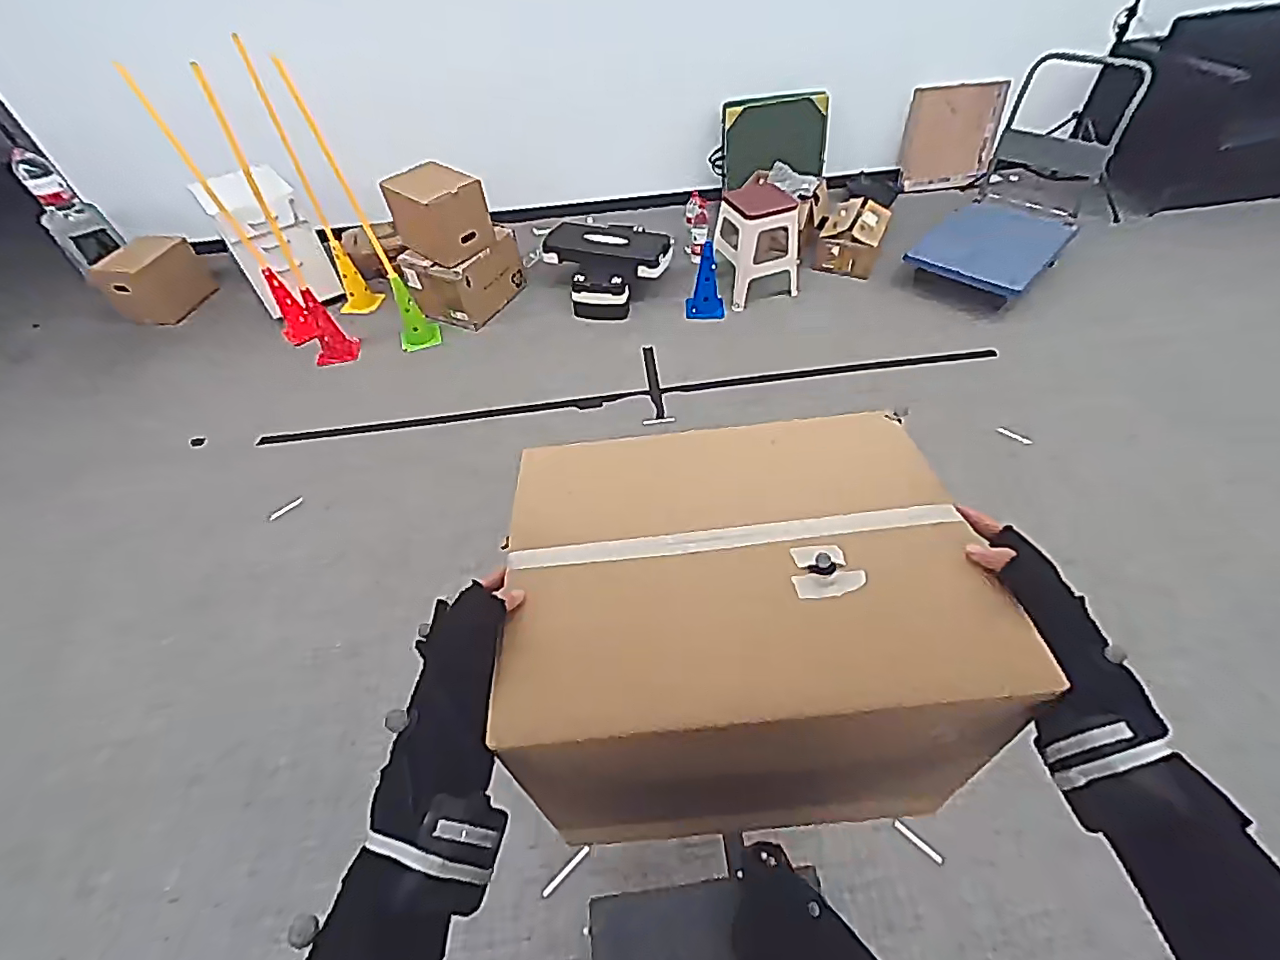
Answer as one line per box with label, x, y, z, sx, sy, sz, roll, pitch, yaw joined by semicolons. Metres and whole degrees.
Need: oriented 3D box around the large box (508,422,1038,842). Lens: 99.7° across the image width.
large box;0.098;0.169;0.604;0.408;0.320;0.320;-6;45;1
